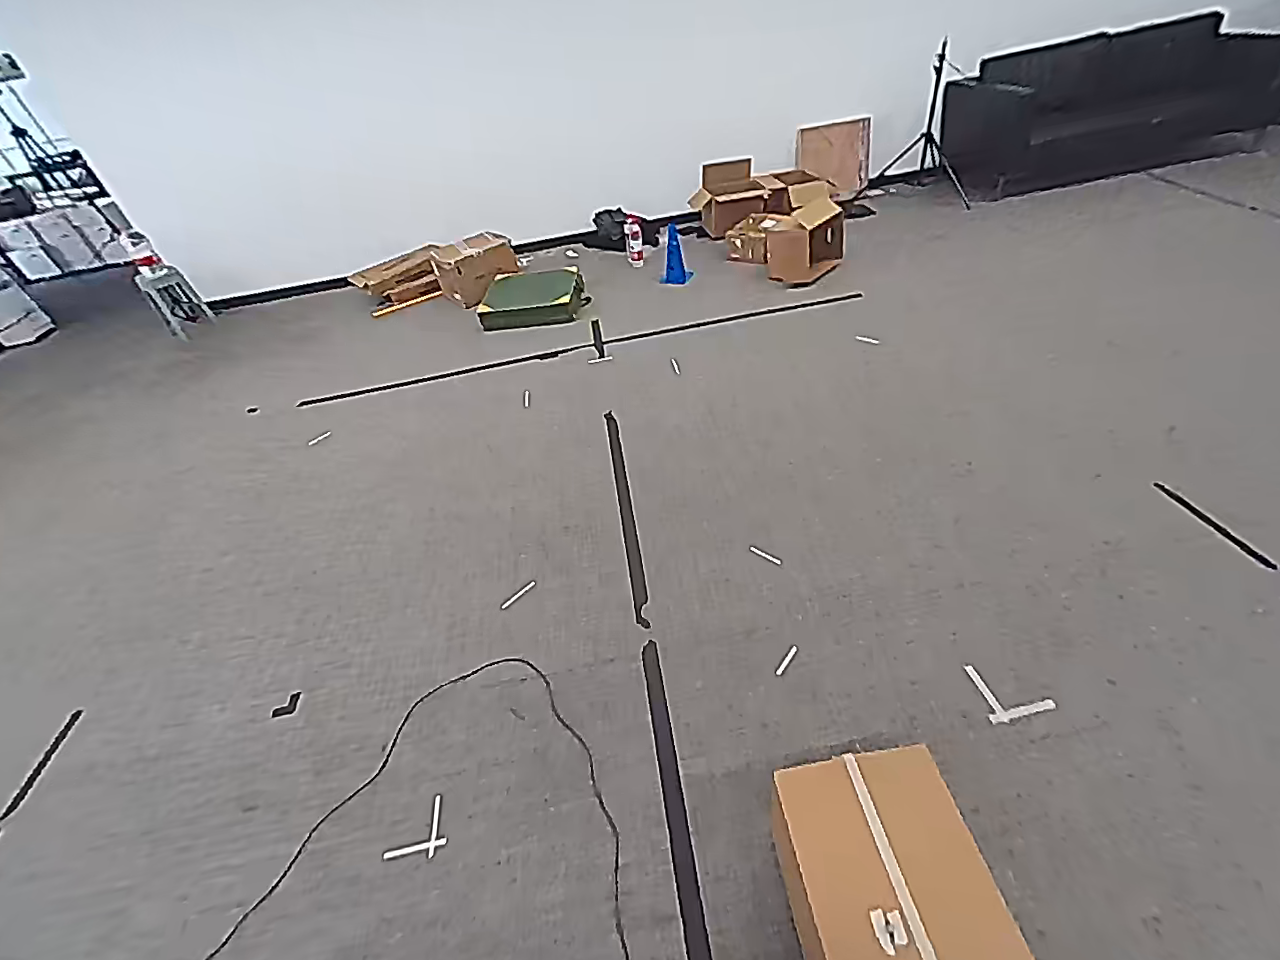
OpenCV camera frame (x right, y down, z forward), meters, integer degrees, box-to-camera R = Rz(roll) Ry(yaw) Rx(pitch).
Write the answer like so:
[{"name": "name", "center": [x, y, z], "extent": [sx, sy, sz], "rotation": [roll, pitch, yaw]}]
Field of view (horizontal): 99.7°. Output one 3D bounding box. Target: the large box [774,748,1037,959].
[{"name": "large box", "center": [0.467, 0.796, 1.026], "extent": [0.320, 0.320, 0.408], "rotation": [-11, 42, 1]}]
